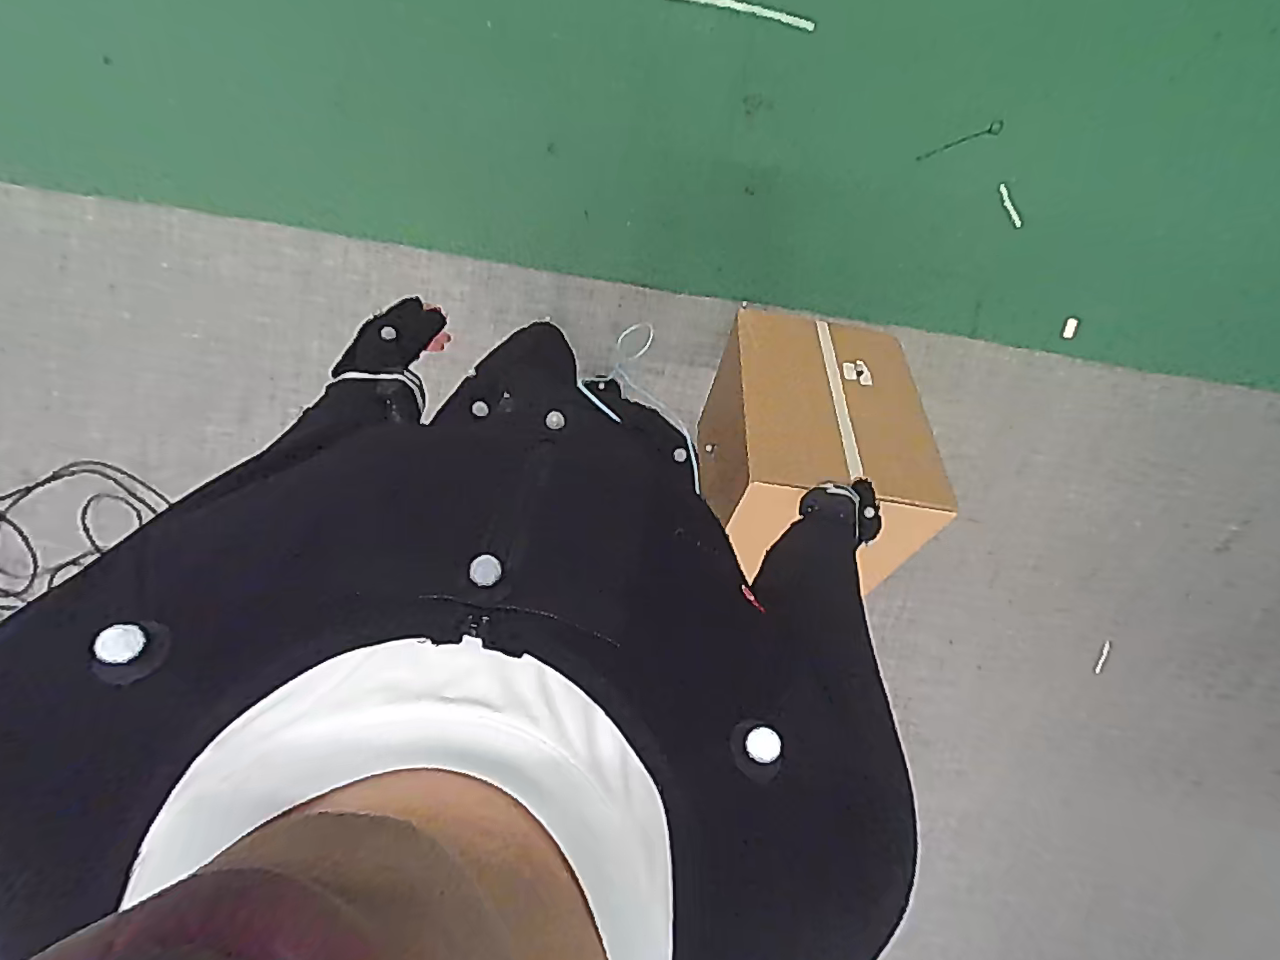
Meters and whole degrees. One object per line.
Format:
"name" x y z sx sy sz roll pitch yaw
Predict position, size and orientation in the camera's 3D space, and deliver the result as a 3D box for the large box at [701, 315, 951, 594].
"large box" 0.297 -0.041 1.013 0.320 0.408 0.320 9 142 -5
